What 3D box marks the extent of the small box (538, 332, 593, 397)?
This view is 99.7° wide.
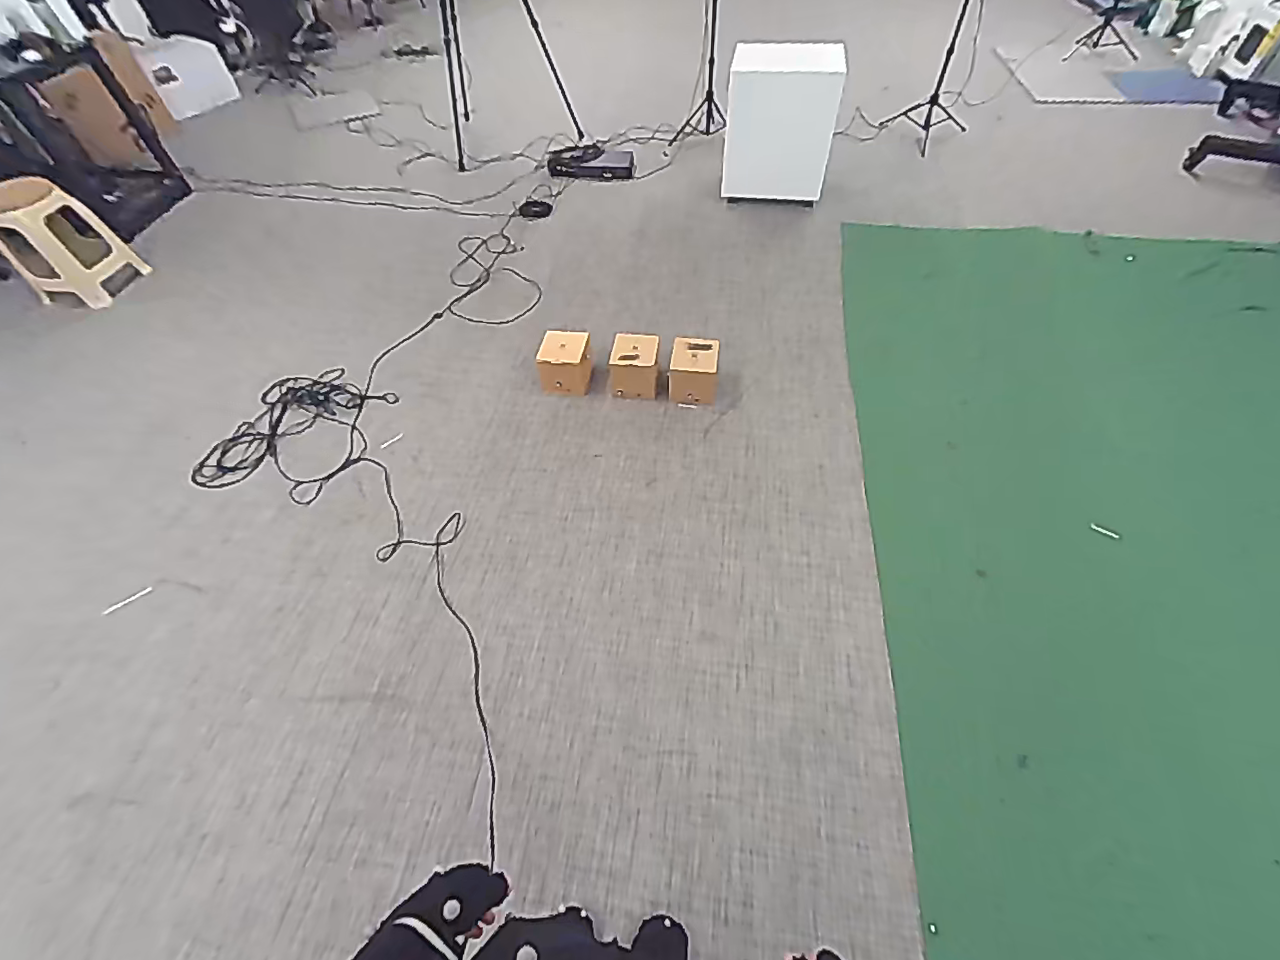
[{"bbox_3d":[-0.281,-0.446,2.085,0.168,0.176,0.179,5,53,7],"label":"small box"}]

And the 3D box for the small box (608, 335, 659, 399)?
[{"bbox_3d":[-0.018,-0.427,2.053,0.168,0.176,0.179,5,52,7],"label":"small box"}]
